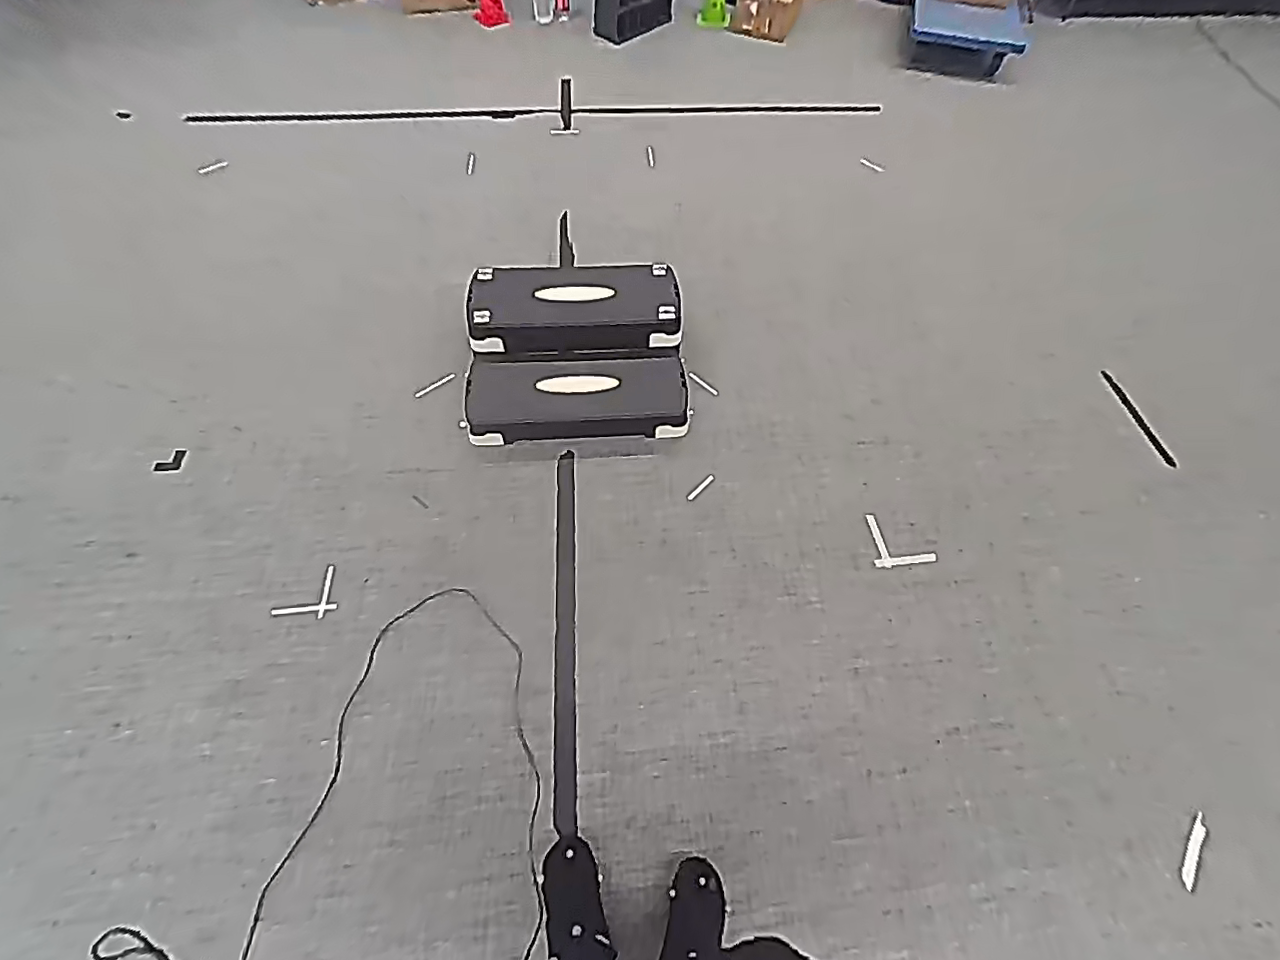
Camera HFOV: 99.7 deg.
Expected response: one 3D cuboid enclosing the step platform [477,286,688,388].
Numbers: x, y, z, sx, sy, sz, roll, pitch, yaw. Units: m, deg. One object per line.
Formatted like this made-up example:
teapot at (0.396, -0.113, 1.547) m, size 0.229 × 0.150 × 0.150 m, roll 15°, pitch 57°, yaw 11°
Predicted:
step platform at (-0.183, -0.476, 1.793) m, size 0.684 × 0.204 × 0.286 m, roll 1°, pitch 57°, yaw -2°
